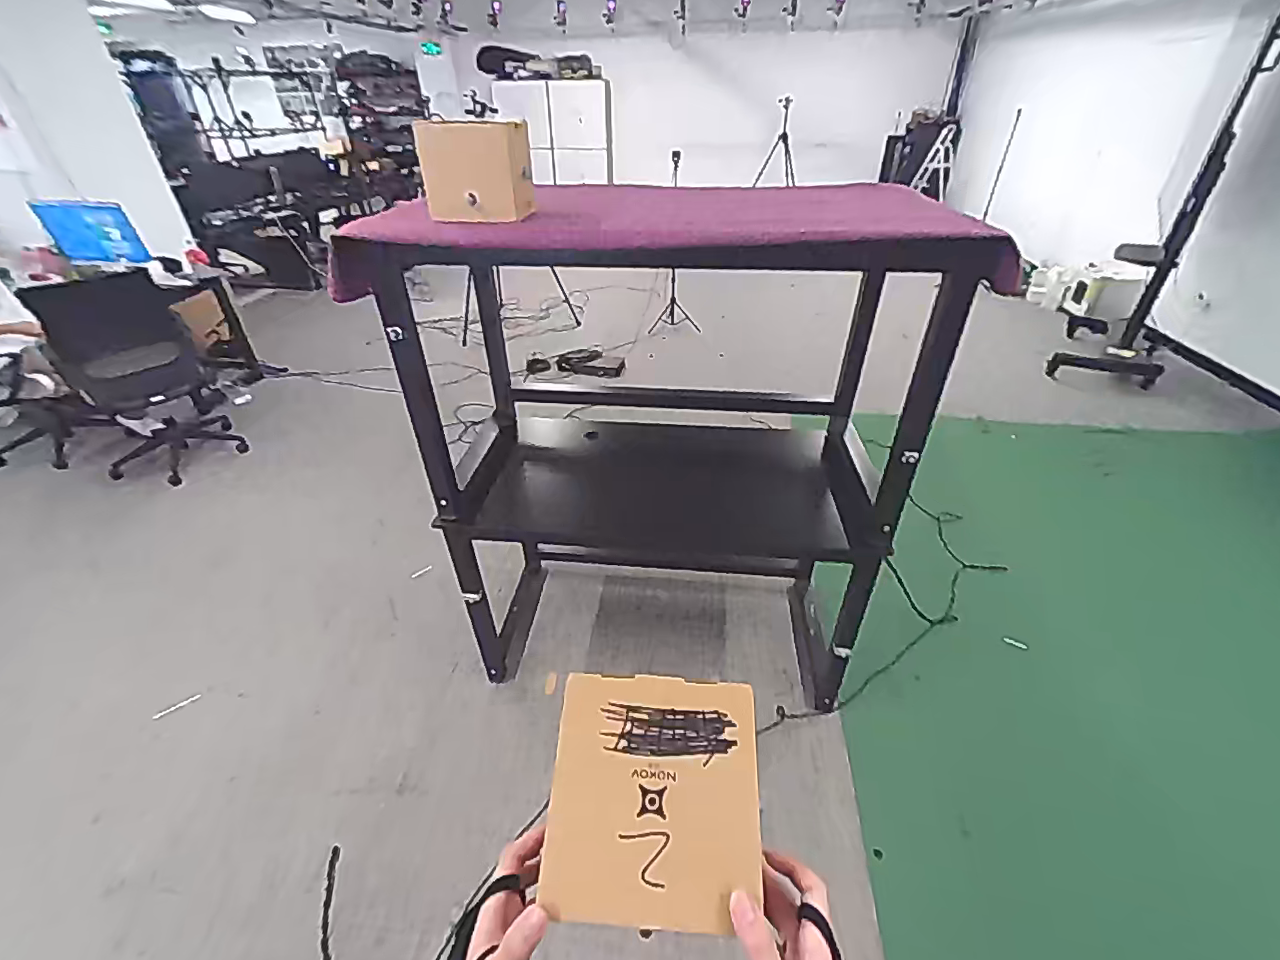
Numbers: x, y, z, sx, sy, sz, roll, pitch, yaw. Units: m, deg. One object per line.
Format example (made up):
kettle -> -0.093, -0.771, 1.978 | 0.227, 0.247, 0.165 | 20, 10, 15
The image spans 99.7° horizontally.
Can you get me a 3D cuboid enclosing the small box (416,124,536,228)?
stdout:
small box -> -0.315, -0.610, 1.085 | 0.179, 0.176, 0.168 | 2, 34, 3
